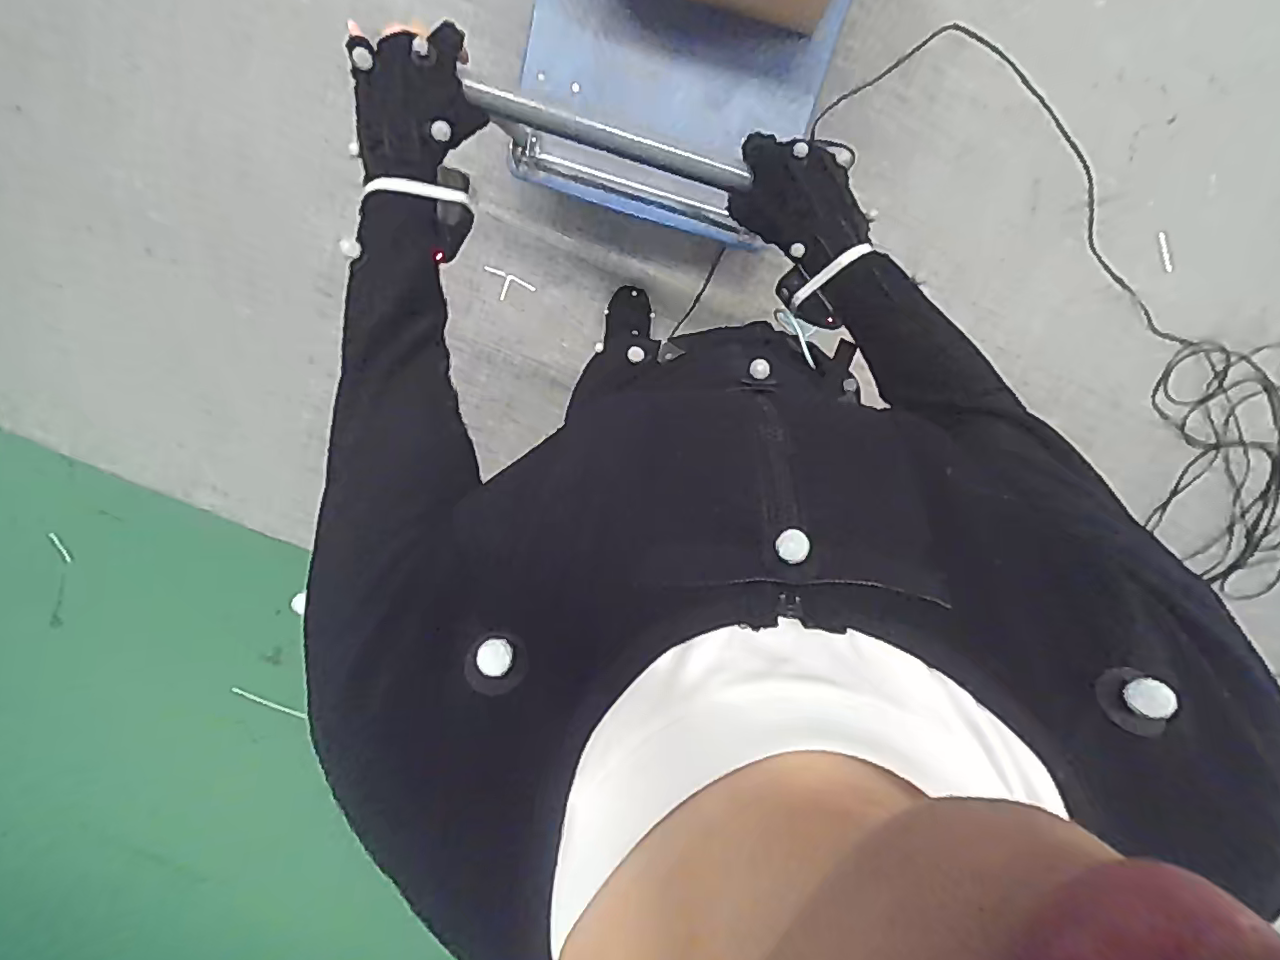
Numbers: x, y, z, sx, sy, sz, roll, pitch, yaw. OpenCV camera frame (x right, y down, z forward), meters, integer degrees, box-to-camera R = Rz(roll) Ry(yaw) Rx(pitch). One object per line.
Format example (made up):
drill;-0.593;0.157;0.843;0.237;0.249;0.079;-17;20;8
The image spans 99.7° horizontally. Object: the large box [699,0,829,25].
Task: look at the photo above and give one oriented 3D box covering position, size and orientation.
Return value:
large box;0.159;-0.985;0.828;0.408;0.320;0.320;14;109;0
